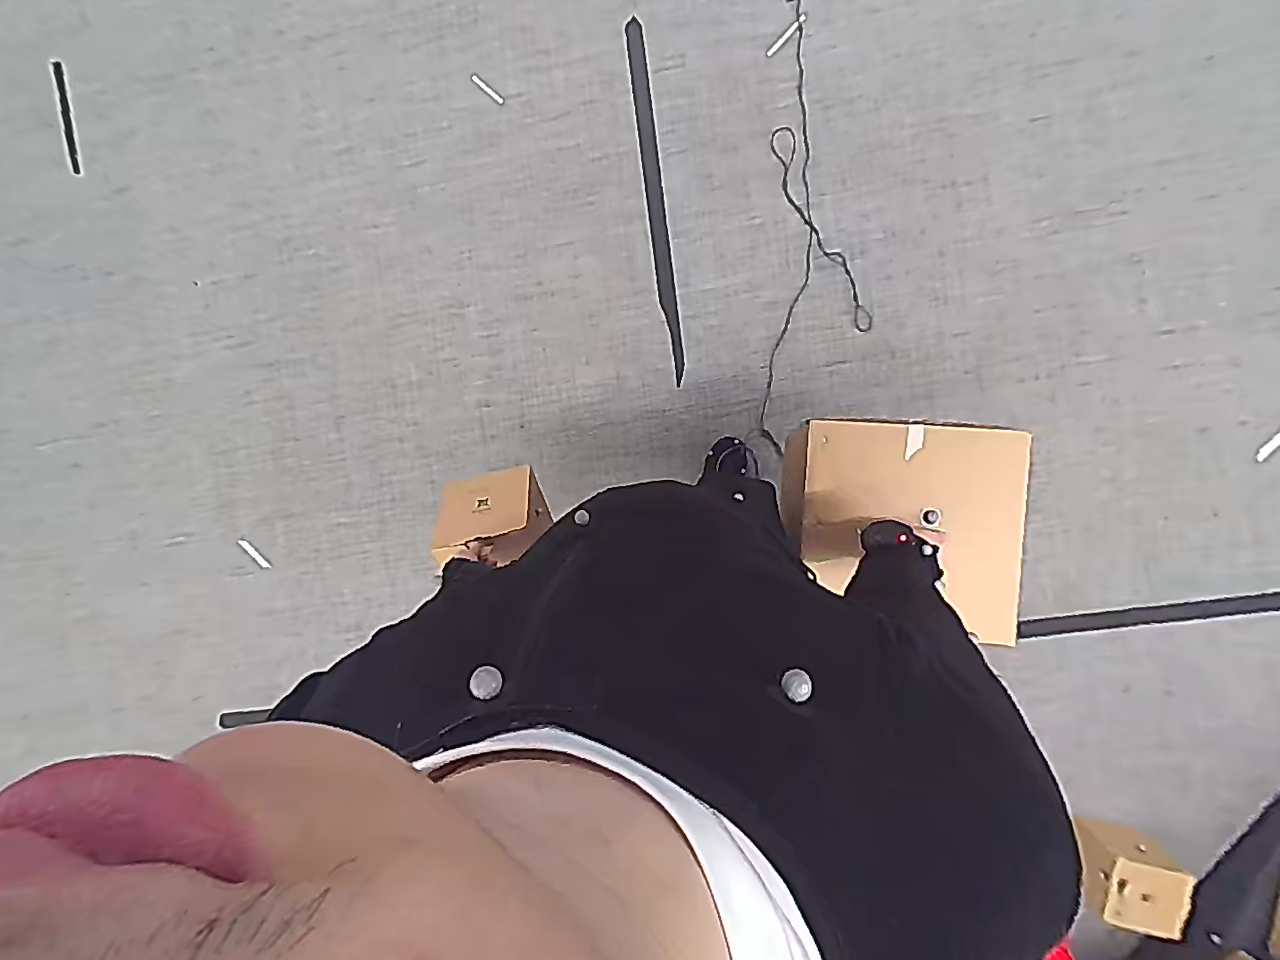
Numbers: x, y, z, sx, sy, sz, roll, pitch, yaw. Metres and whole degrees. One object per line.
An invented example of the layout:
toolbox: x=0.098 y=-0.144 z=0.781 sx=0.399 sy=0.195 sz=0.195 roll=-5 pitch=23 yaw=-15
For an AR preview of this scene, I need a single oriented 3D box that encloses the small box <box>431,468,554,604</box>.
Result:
small box: x=-0.260 y=0.109 z=0.996 sx=0.168 sy=0.179 sz=0.176 roll=-12 pitch=129 yaw=0
